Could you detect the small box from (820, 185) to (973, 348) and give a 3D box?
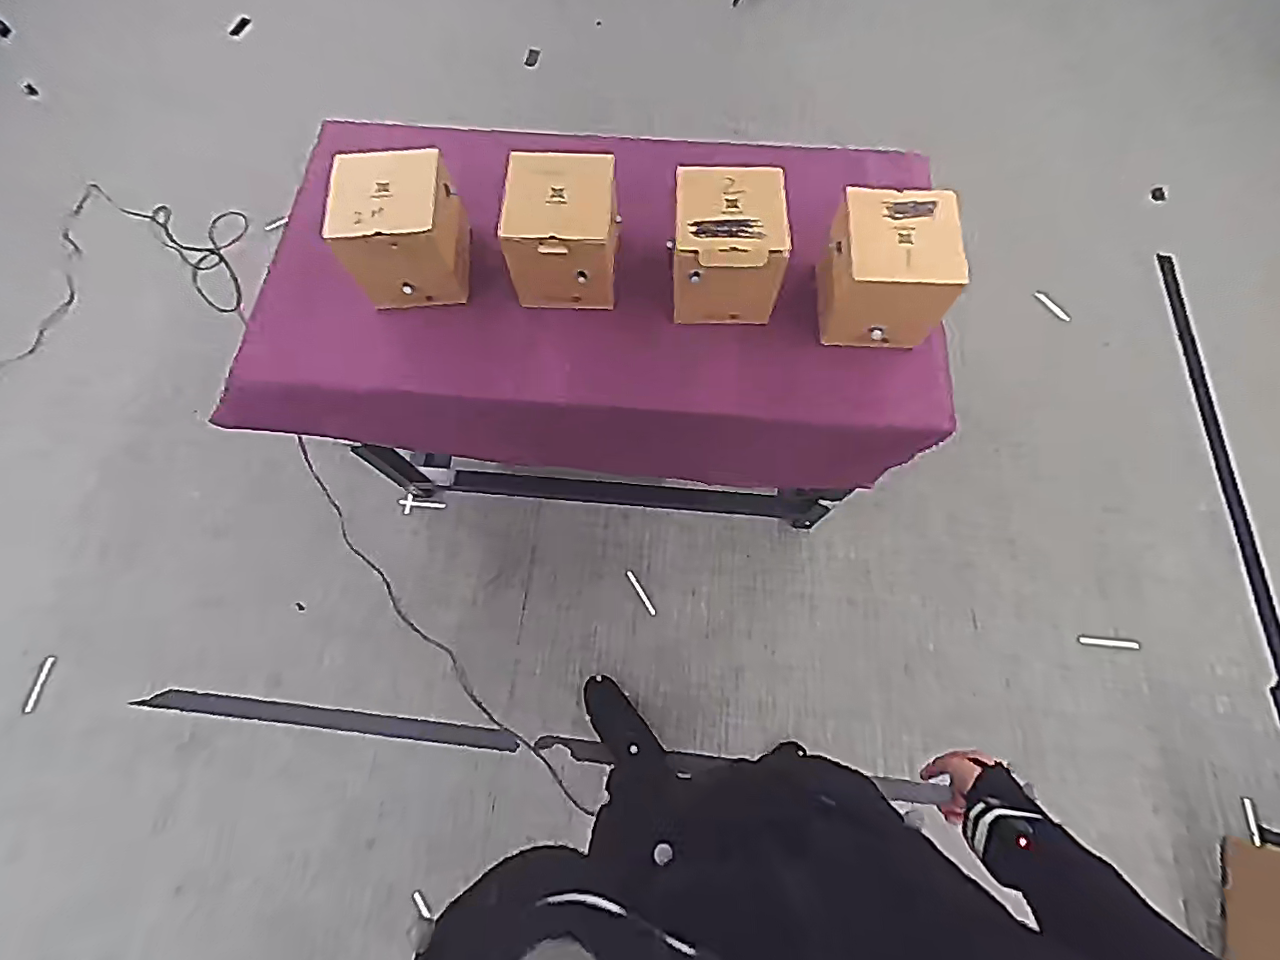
[{"bbox_3d":[0.395,-0.337,0.867,0.168,0.176,0.179,3,71,3],"label":"small box"}]

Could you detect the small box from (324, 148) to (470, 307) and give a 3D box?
[{"bbox_3d":[-0.393,-0.417,0.908,0.168,0.176,0.179,-4,71,0],"label":"small box"}]

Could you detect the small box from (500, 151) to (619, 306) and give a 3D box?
[{"bbox_3d":[-0.123,-0.412,0.904,0.168,0.176,0.179,2,70,1],"label":"small box"}]
